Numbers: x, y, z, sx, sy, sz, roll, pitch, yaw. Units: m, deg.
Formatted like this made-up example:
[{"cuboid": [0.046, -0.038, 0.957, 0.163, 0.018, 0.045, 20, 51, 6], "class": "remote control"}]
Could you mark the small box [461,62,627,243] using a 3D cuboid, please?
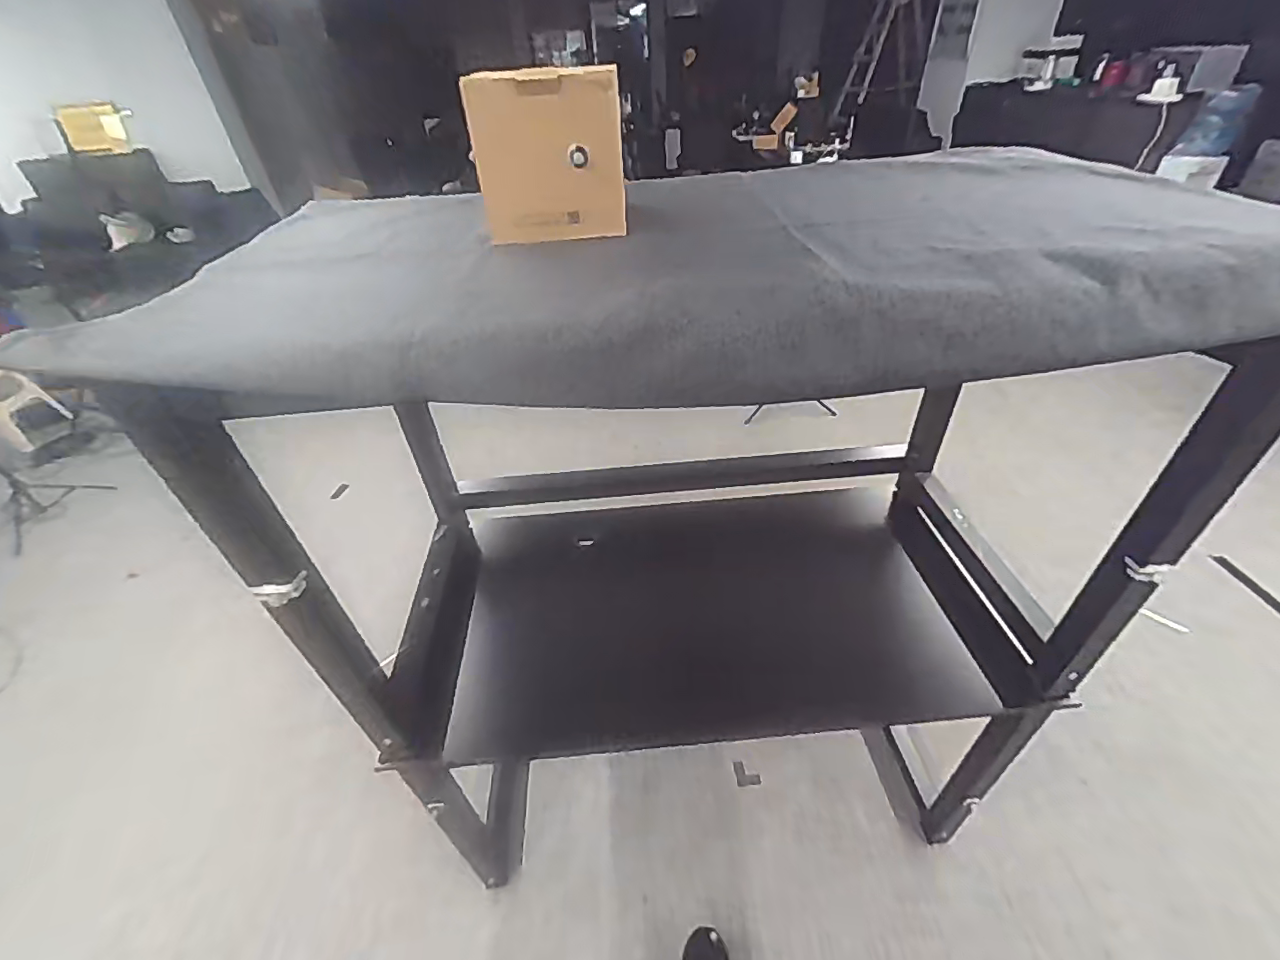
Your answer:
[{"cuboid": [-0.103, -0.402, 0.670, 0.168, 0.176, 0.179, -3, 40, 0], "class": "small box"}]
